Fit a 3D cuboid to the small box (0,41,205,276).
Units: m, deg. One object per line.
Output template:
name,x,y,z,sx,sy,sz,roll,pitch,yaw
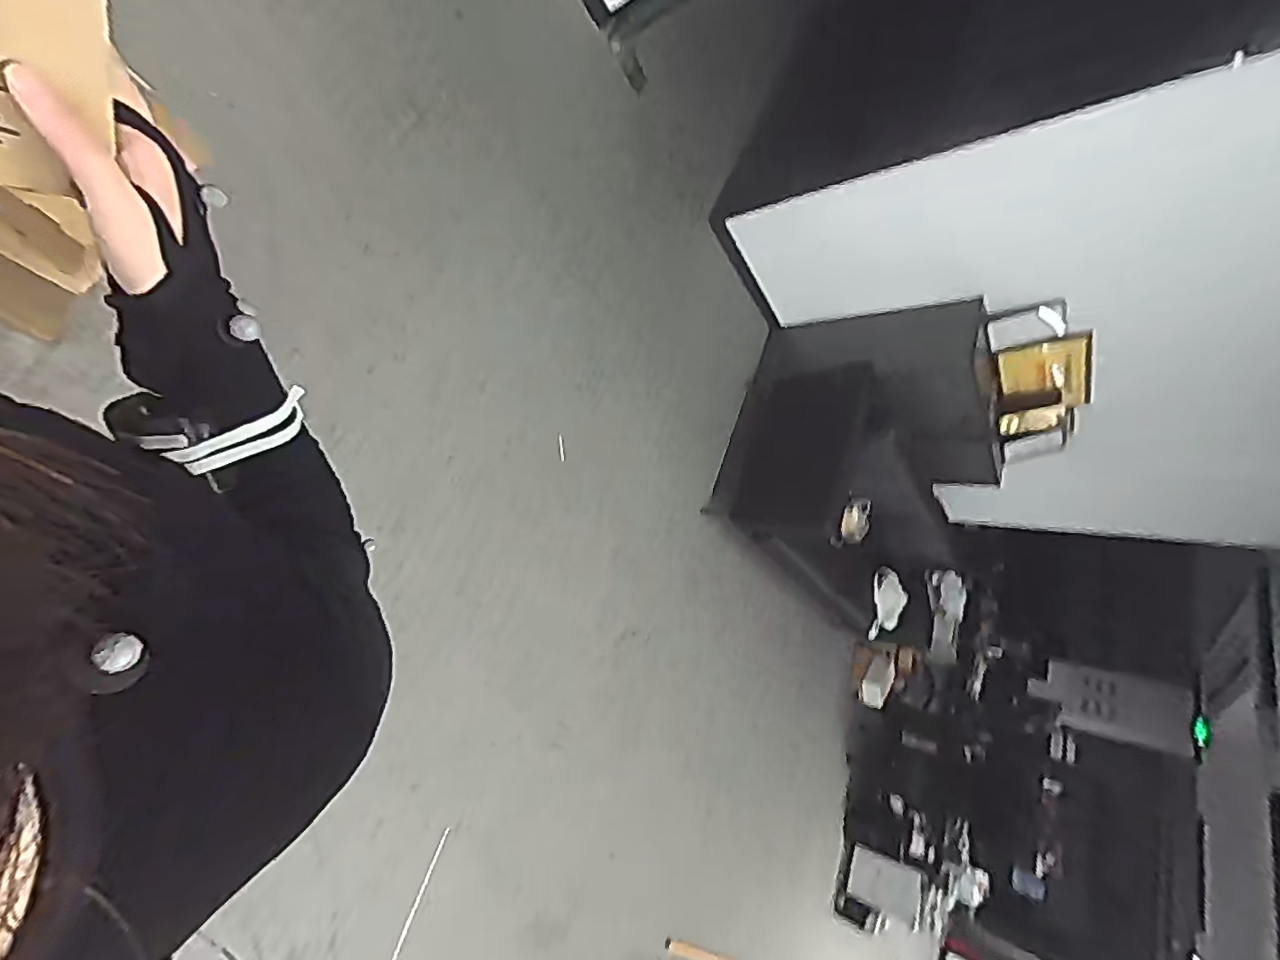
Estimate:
small box,-0.713,-0.391,0.684,0.168,0.176,0.179,47,58,-38
